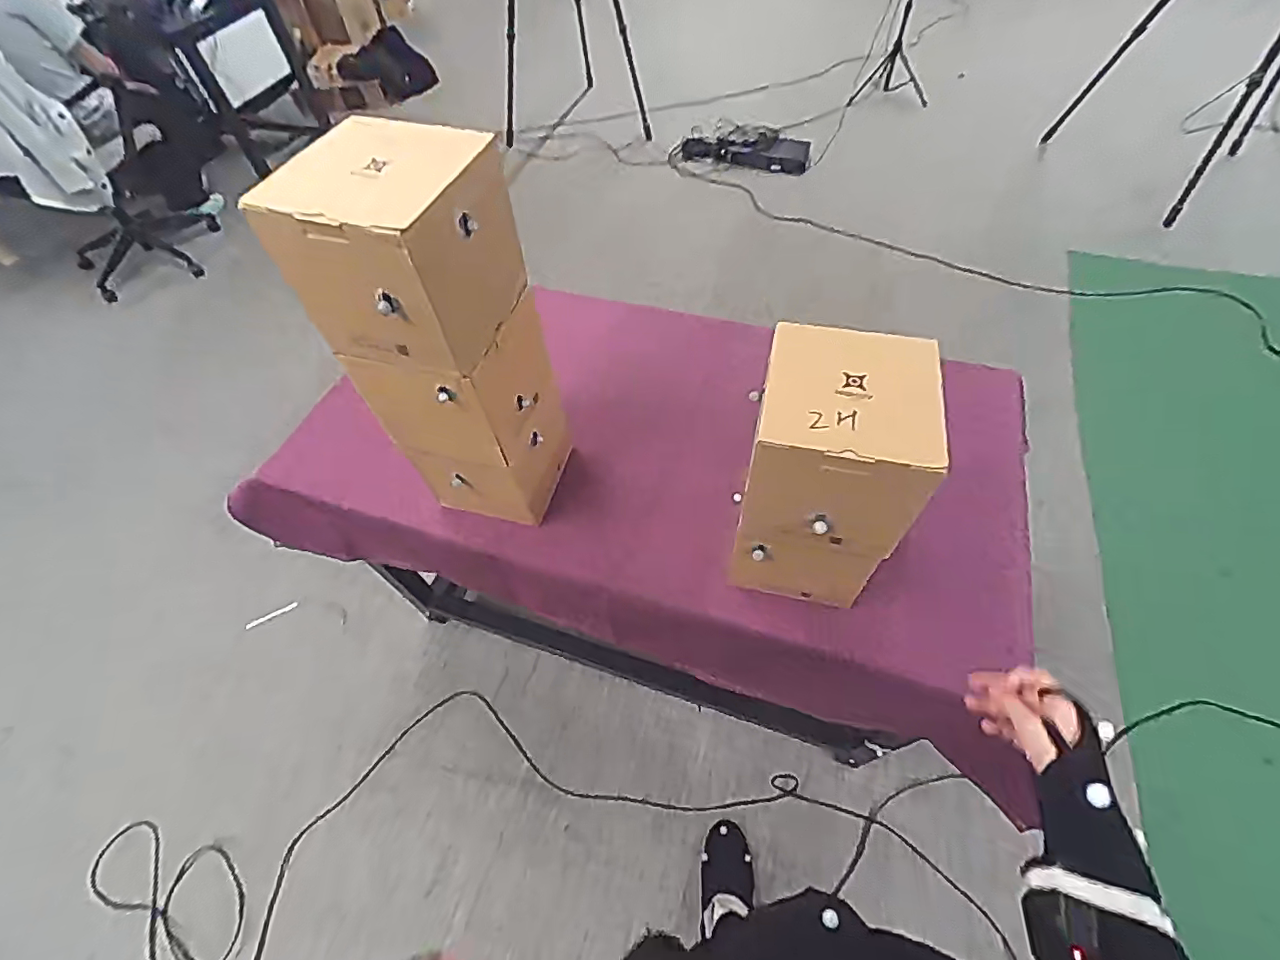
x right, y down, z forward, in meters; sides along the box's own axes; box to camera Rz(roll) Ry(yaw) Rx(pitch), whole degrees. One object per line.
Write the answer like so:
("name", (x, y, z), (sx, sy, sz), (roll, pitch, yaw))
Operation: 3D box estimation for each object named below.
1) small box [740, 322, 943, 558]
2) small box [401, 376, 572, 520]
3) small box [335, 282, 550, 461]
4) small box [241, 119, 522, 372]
("small box", (0.208, -0.041, 0.589), (0.168, 0.176, 0.179), (11, 57, 11))
("small box", (-0.222, -0.057, 0.830), (0.179, 0.176, 0.168), (12, 58, 12))
("small box", (-0.234, -0.144, 0.693), (0.179, 0.176, 0.168), (12, 57, 11))
("small box", (-0.240, -0.238, 0.560), (0.168, 0.176, 0.179), (15, 57, 12))
